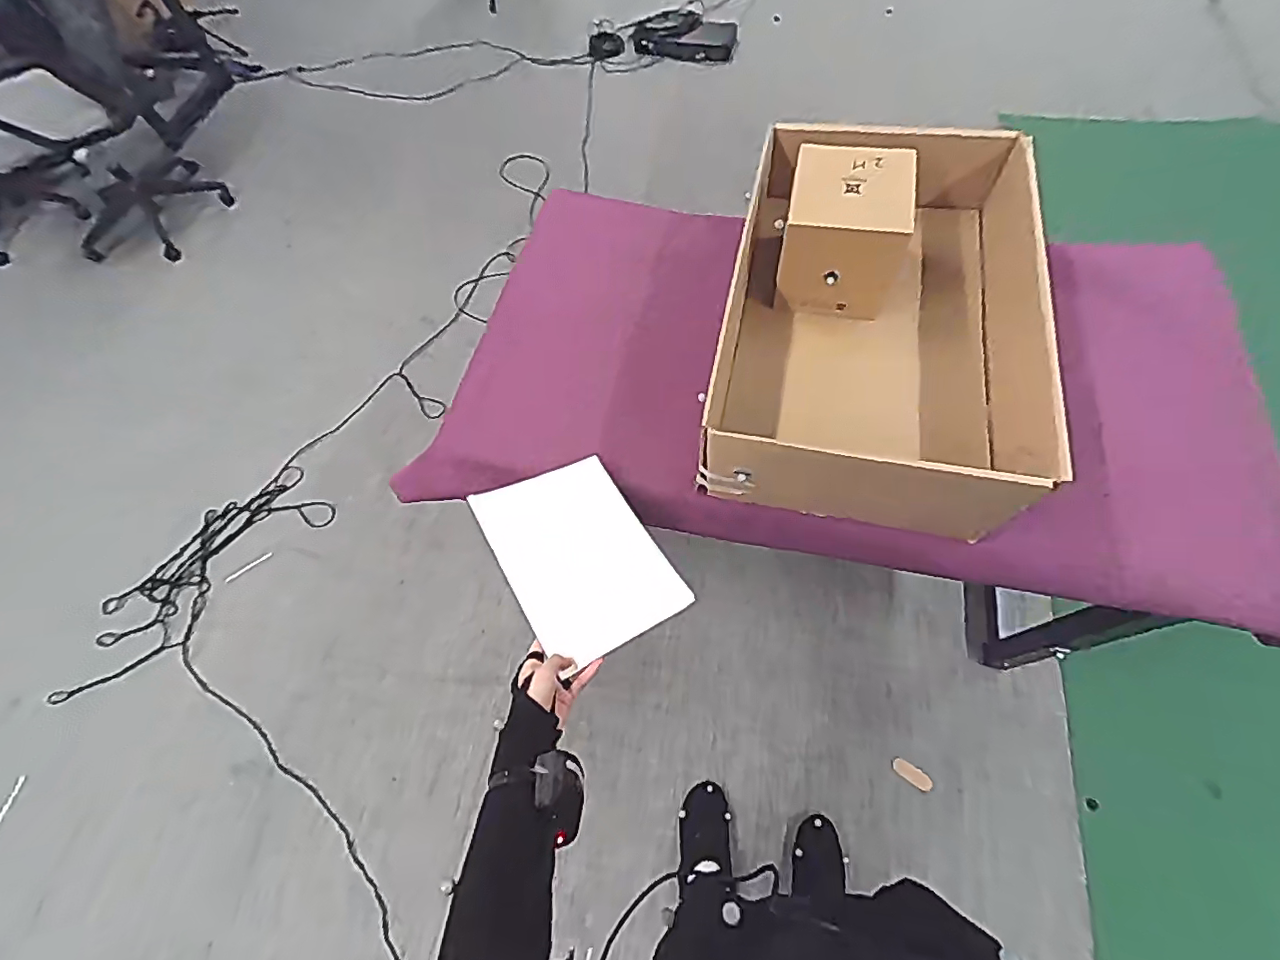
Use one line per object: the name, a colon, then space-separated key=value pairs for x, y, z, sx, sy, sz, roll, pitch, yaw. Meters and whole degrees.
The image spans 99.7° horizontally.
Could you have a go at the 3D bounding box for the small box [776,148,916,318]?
small box: x=0.309 y=-0.375 z=0.836 sx=0.168 sy=0.176 sz=0.179 roll=10 pitch=66 yaw=11
